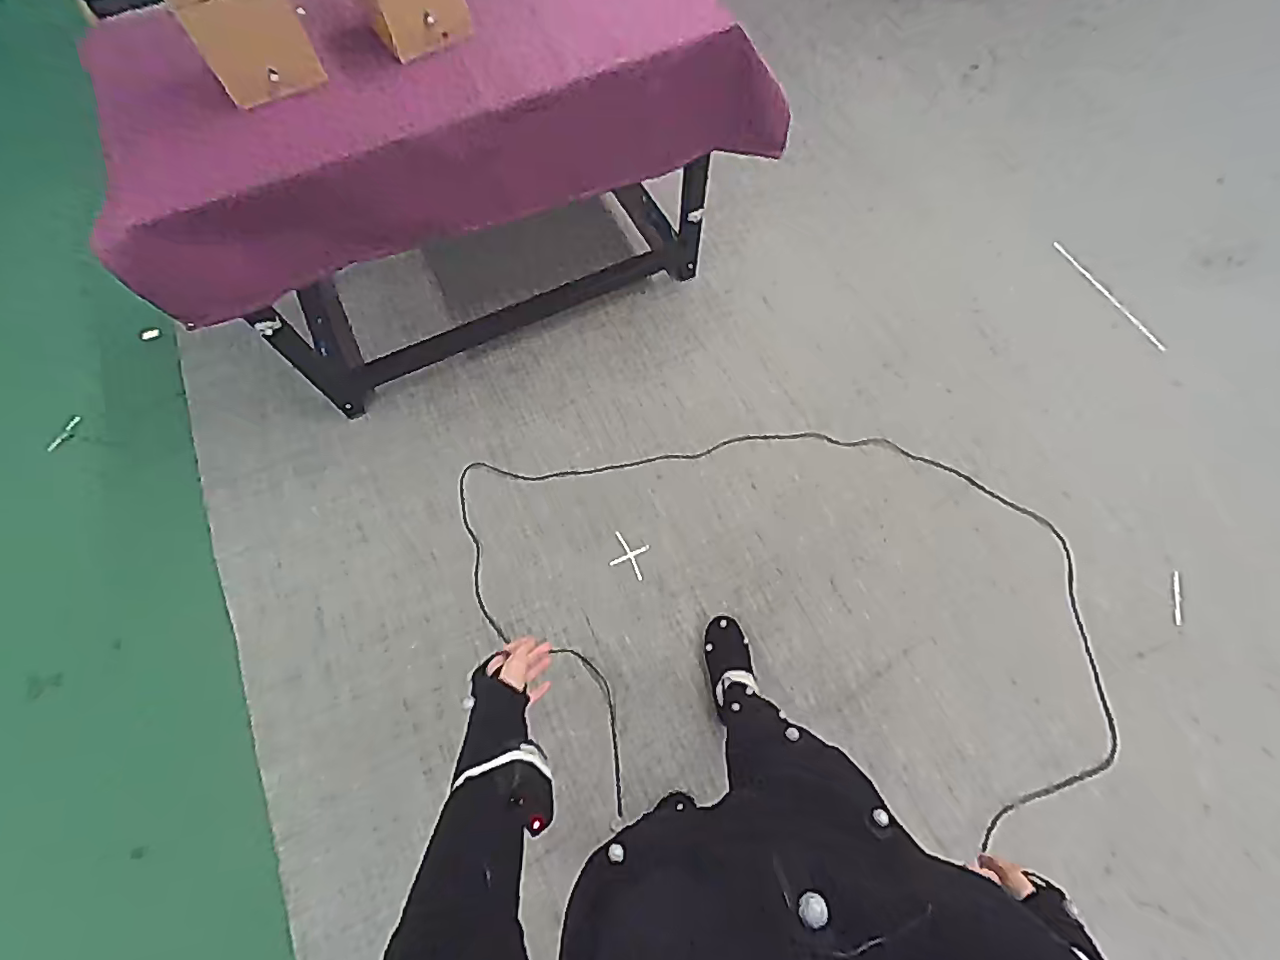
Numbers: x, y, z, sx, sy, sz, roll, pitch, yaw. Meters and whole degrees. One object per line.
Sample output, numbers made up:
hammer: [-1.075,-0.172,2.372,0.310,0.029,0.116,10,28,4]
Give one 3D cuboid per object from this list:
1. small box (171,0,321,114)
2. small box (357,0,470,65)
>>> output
small box: [-0.721,-0.822,0.993,0.179,0.176,0.168,-27,70,-10]
small box: [-0.458,-0.956,1.043,0.168,0.176,0.179,-33,72,-11]
